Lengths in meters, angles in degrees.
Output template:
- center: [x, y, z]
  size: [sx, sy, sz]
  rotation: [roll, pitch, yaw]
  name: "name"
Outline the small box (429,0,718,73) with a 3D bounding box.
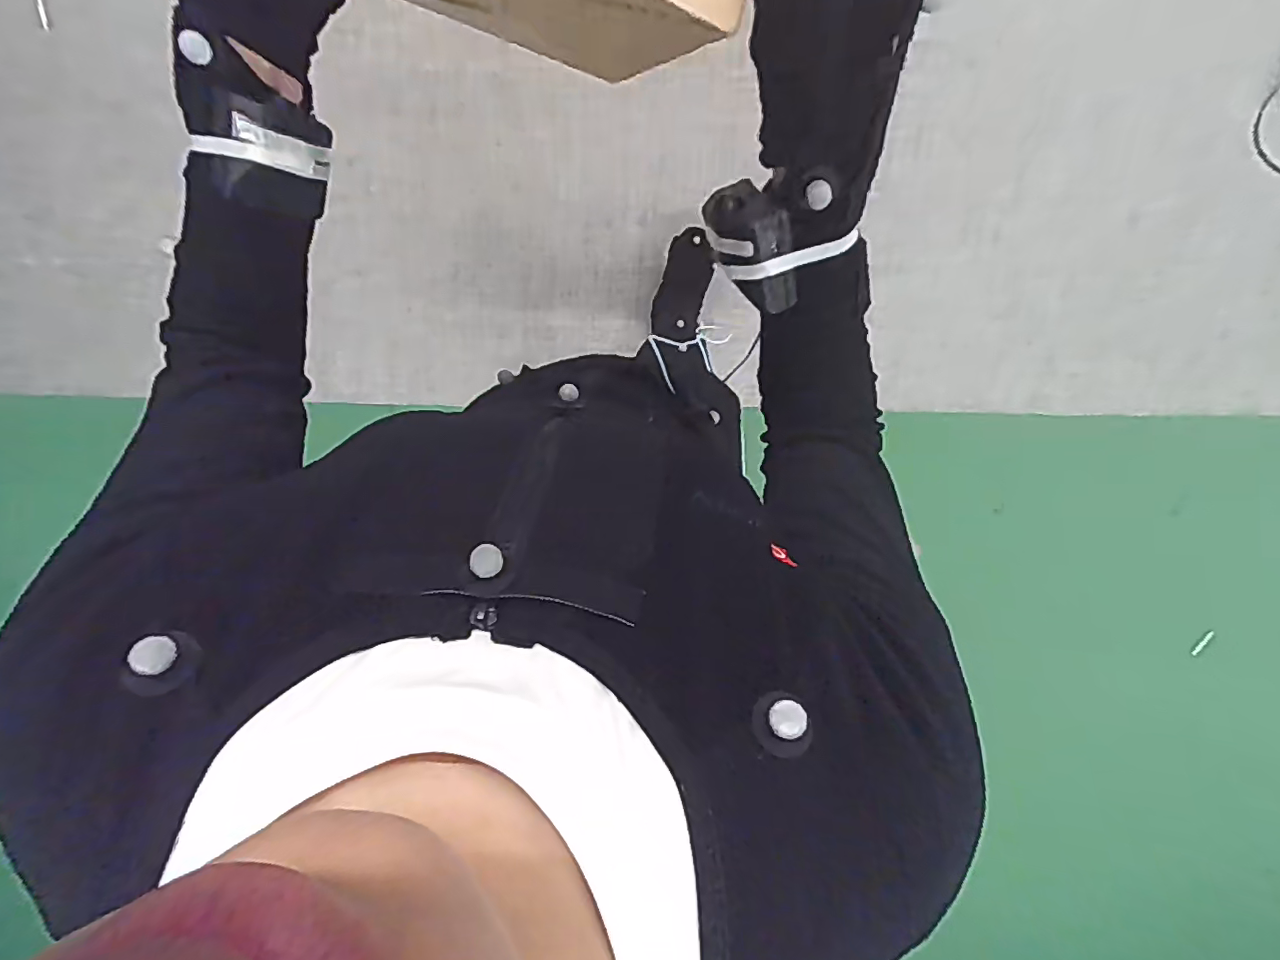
- center: [-0.042, -0.321, 0.246]
  size: [0.179, 0.168, 0.176]
  rotation: [3, 114, -28]
  name: "small box"
